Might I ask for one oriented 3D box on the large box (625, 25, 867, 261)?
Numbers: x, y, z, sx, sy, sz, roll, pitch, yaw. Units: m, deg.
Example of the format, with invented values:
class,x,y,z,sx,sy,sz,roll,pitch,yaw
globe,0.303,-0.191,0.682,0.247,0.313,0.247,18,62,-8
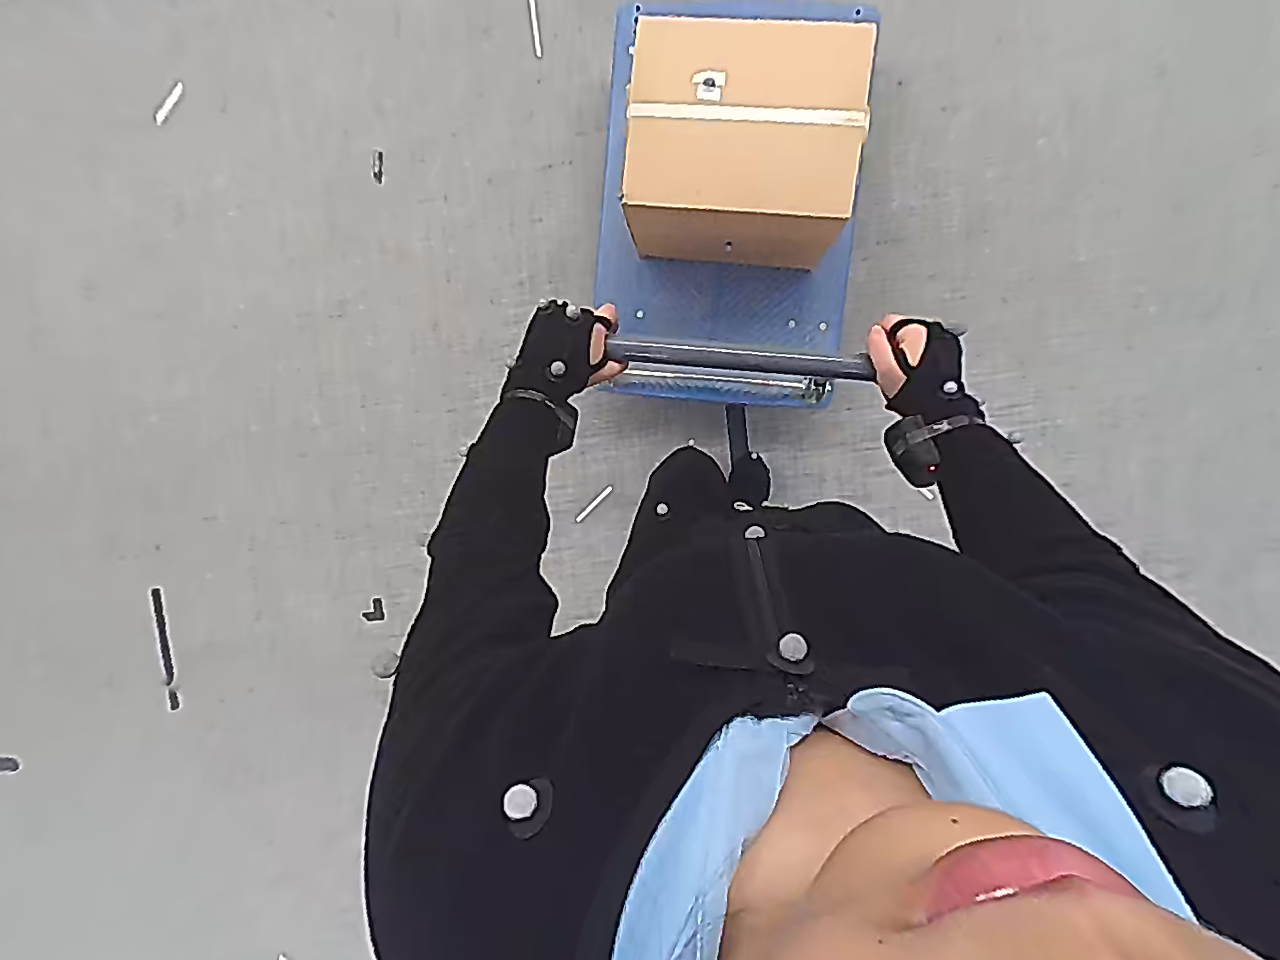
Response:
class,x,y,z,sx,sy,sz,roll,pitch,yaw
large box,0.199,-0.652,1.101,0.408,0.320,0.320,6,95,7
